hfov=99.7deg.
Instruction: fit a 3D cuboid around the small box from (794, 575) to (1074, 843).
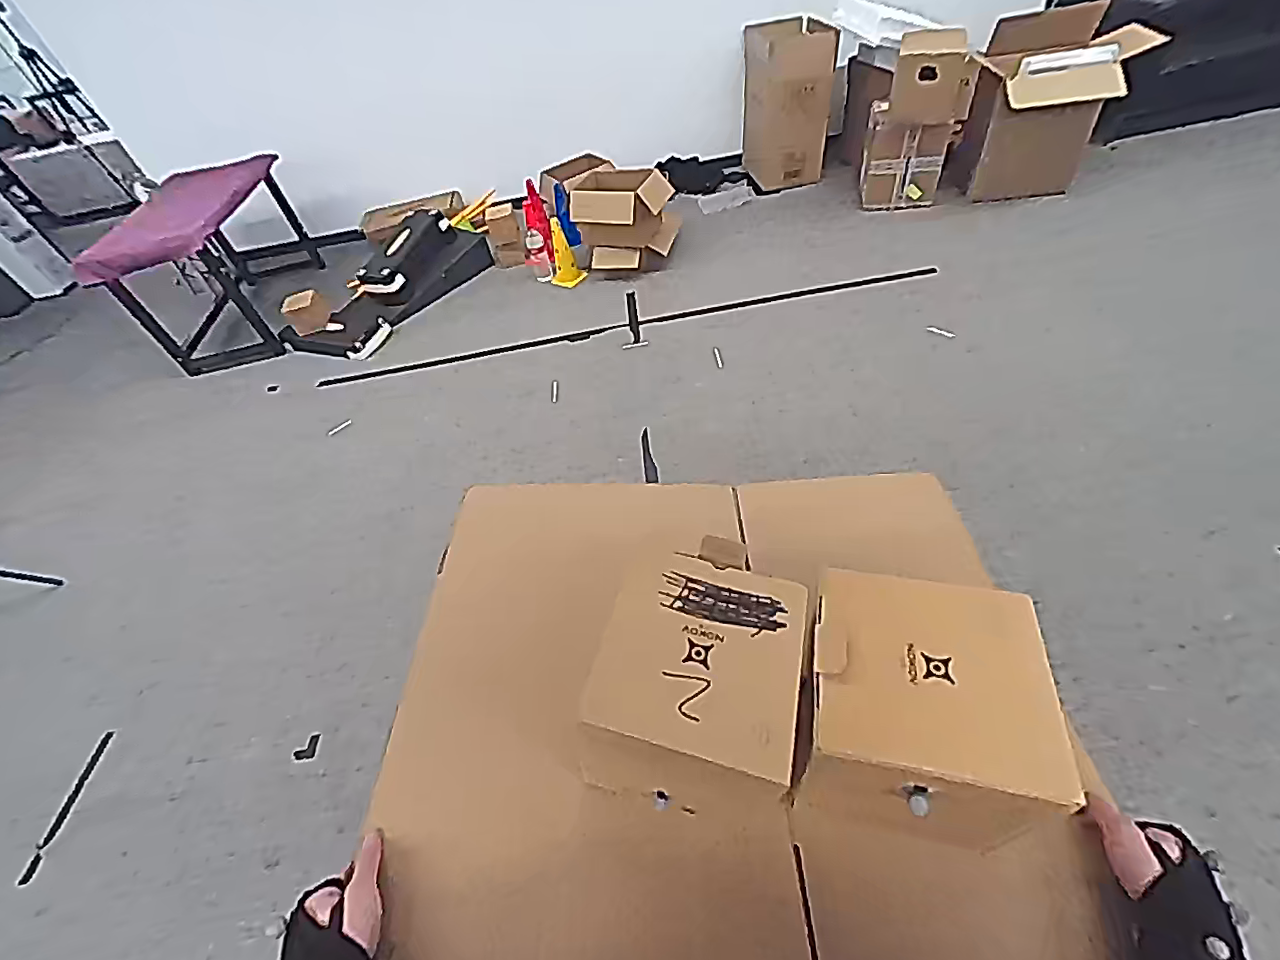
[{"bbox_3d":[0.245,0.213,0.501,0.179,0.176,0.168,6,48,15],"label":"small box"}]
